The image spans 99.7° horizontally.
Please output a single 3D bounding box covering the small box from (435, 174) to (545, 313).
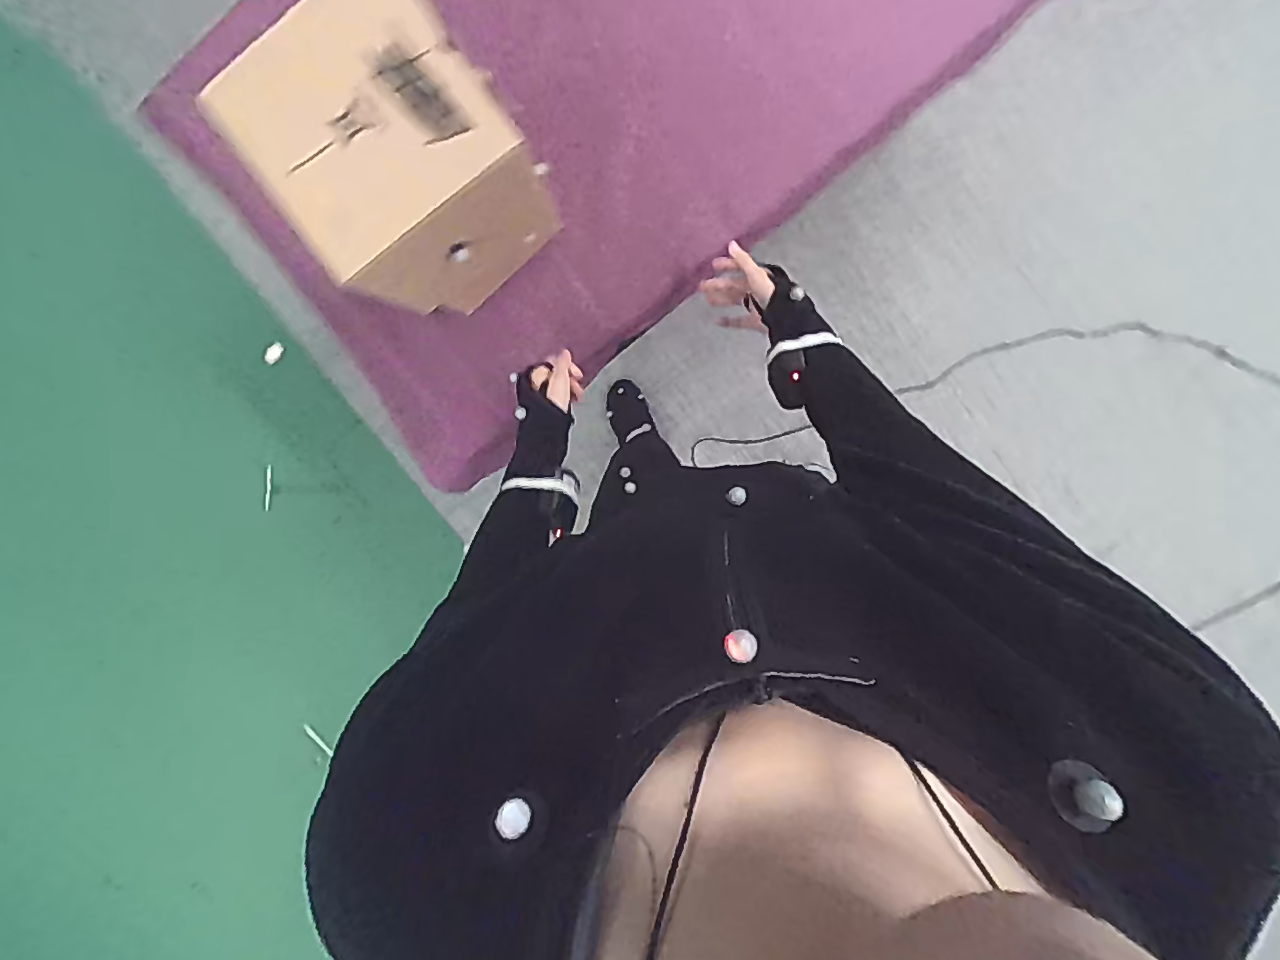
[{"bbox_3d":[-0.230,-0.324,0.640,0.179,0.176,0.168,-40,97,7],"label":"small box"}]

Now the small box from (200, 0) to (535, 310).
[{"bbox_3d":[-0.211,-0.275,0.482,0.179,0.176,0.168,-35,98,8],"label":"small box"}]
